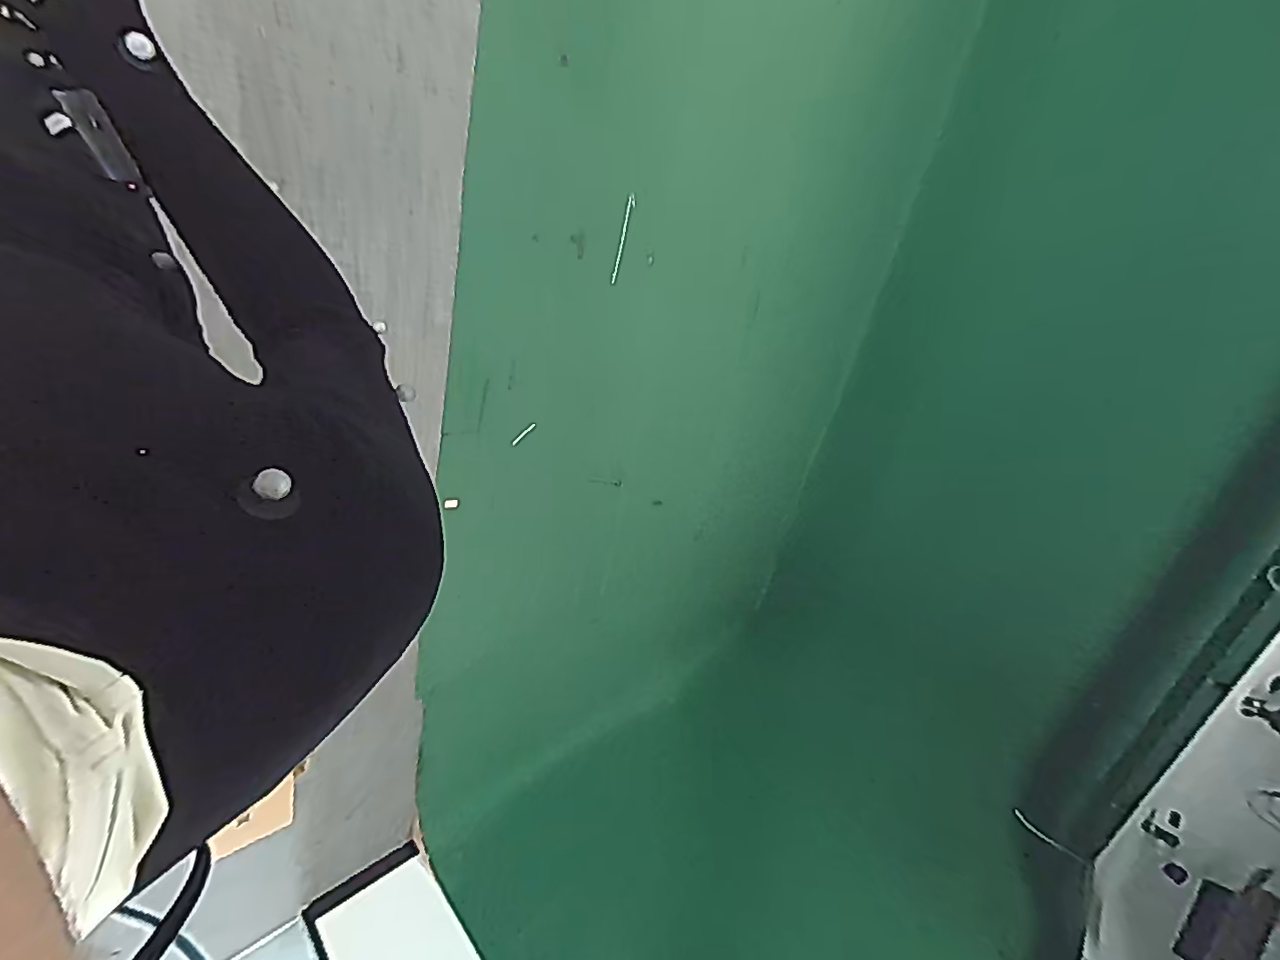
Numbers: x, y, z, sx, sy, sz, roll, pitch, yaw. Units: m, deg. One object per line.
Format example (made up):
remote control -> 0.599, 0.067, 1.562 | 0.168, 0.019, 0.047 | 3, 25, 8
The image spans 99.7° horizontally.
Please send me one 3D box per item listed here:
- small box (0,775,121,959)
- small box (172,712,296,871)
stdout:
small box -> -0.983, 0.629, 0.882 | 0.179, 0.176, 0.168 | -6, 117, -47
small box -> -0.805, 0.604, 1.072 | 0.168, 0.176, 0.179 | -9, 121, -47
